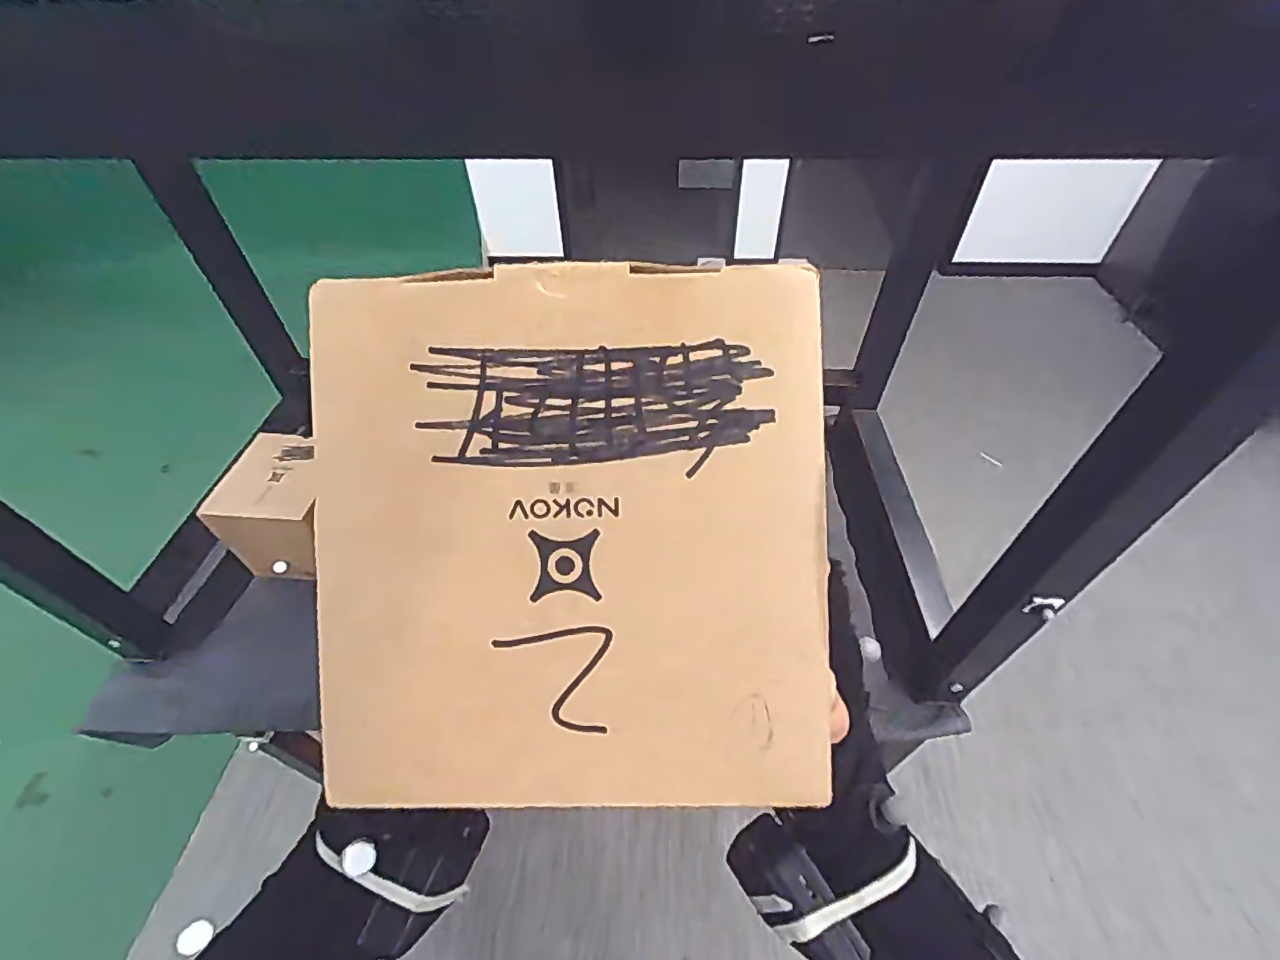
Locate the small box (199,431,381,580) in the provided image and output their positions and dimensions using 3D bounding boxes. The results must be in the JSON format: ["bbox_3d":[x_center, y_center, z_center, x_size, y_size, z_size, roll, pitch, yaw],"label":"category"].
[{"bbox_3d":[-0.552,0.042,0.893,0.168,0.176,0.179,3,48,4],"label":"small box"}]
